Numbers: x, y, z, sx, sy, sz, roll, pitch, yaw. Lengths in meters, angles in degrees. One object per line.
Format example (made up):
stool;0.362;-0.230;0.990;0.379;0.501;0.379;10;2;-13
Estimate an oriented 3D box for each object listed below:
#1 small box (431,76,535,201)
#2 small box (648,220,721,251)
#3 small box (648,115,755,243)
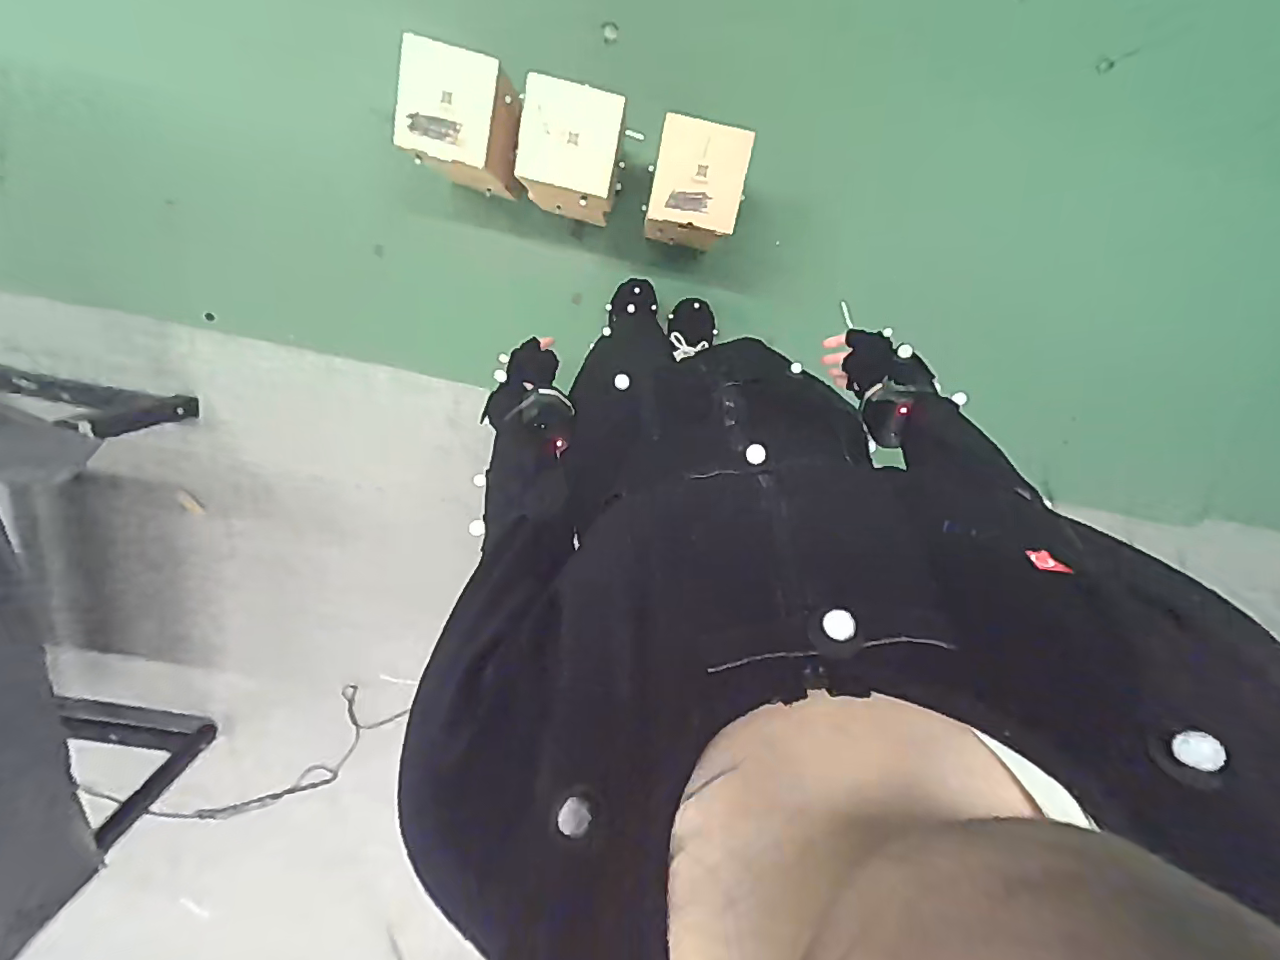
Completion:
small box;-0.340;-0.739;1.194;0.168;0.176;0.179;16;108;-5
small box;0.113;-0.635;1.227;0.168;0.176;0.179;11;108;-4
small box;0.114;-0.582;1.071;0.168;0.176;0.179;11;108;-4
